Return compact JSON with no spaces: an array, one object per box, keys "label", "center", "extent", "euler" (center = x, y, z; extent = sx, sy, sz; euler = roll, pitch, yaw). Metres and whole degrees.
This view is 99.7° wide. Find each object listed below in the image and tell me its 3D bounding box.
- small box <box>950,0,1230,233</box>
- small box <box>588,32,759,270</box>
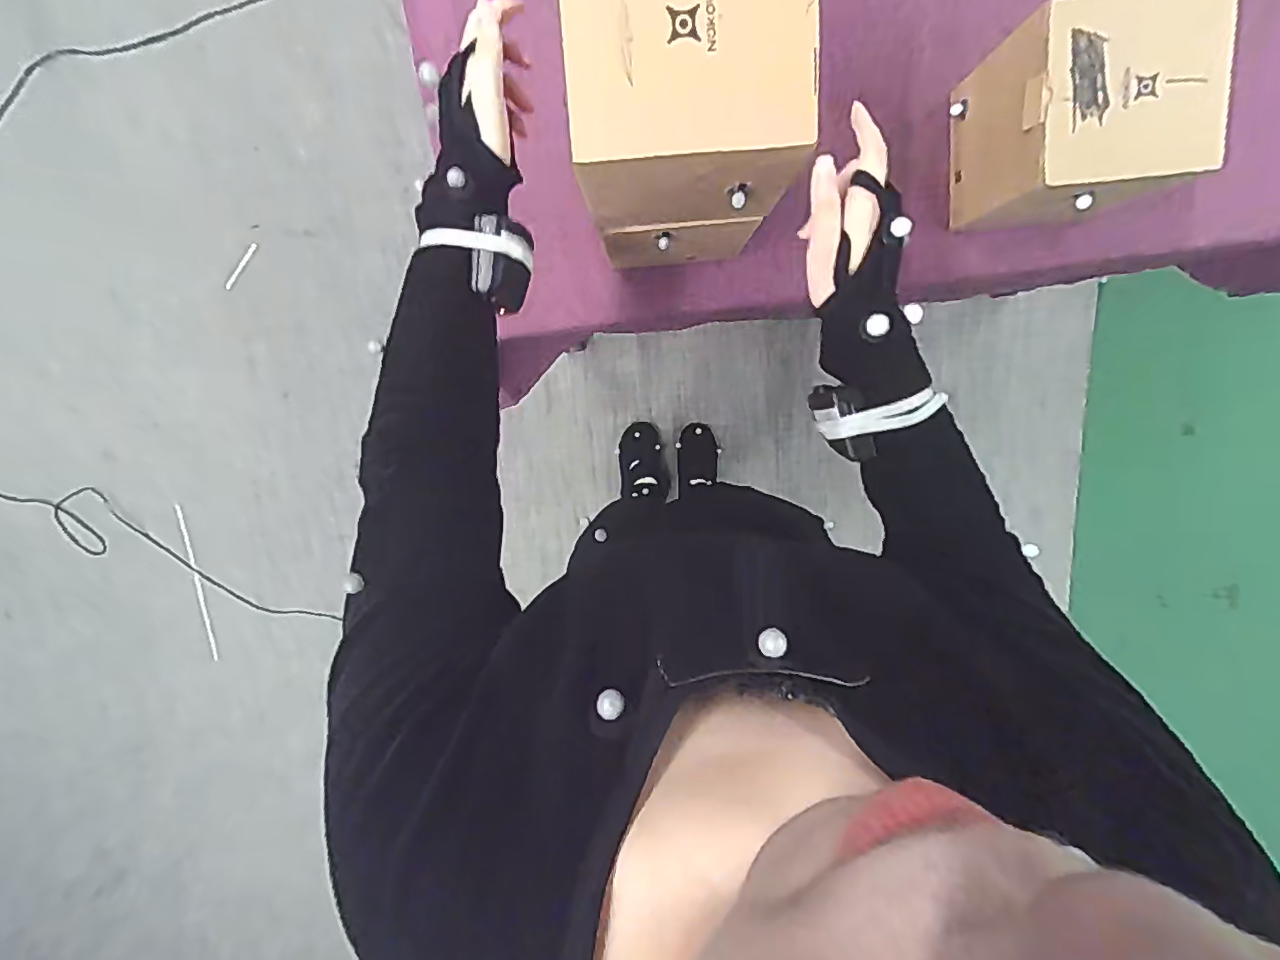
[{"label":"small box","center":[0.470,-0.384,0.596],"extent":[0.179,0.176,0.168],"euler":[-5,100,1]},{"label":"small box","center":[0.035,-0.351,0.610],"extent":[0.168,0.176,0.179],"euler":[-4,100,2]}]
